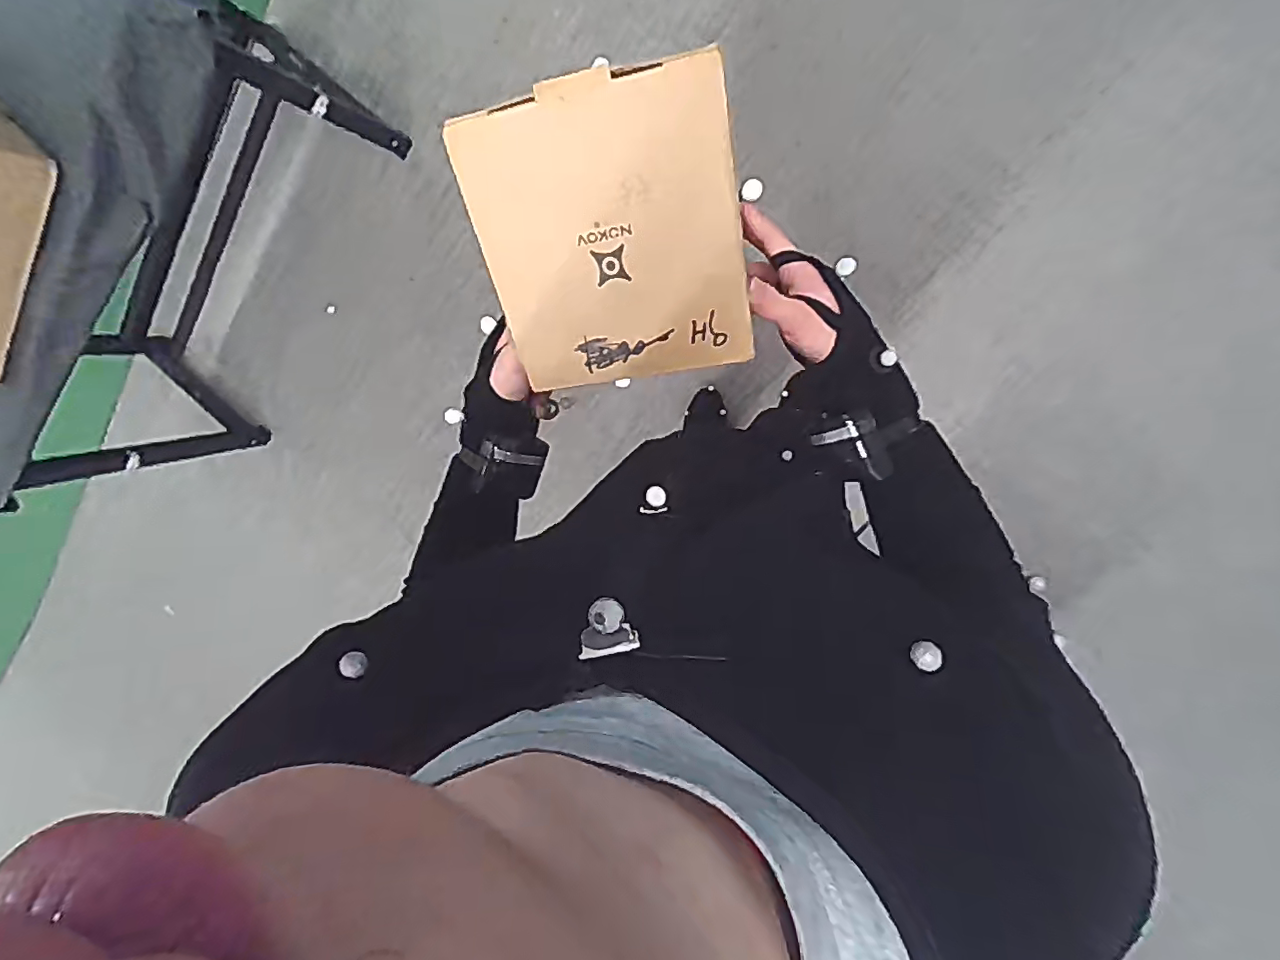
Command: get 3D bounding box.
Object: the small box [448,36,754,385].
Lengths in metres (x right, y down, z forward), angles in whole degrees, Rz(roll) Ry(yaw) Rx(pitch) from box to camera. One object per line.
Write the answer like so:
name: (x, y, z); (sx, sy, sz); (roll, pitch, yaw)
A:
small box: (-0.007, -0.194, 0.406); (0.168, 0.176, 0.179); (-5, 123, 15)
